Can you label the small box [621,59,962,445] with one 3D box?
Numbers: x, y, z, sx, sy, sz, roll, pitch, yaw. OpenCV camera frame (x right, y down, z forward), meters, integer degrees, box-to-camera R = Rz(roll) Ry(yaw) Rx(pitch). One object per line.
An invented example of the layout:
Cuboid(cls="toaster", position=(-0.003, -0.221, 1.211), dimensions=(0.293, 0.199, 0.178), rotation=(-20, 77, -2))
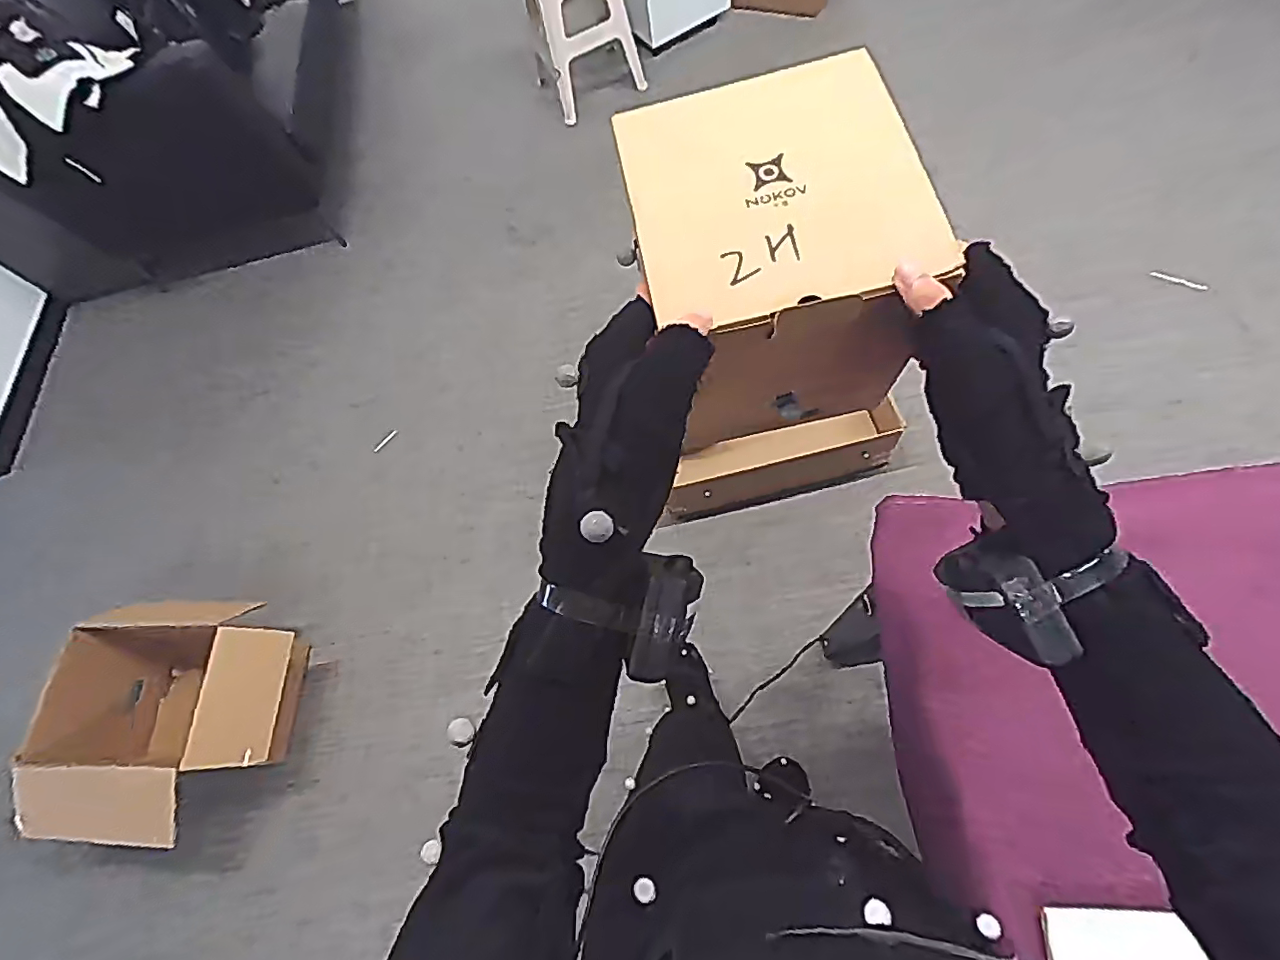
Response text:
Cuboid(cls="small box", position=(0.088, -0.147, 0.394), dimensions=(0.168, 0.176, 0.179), rotation=(-12, 70, 5))
